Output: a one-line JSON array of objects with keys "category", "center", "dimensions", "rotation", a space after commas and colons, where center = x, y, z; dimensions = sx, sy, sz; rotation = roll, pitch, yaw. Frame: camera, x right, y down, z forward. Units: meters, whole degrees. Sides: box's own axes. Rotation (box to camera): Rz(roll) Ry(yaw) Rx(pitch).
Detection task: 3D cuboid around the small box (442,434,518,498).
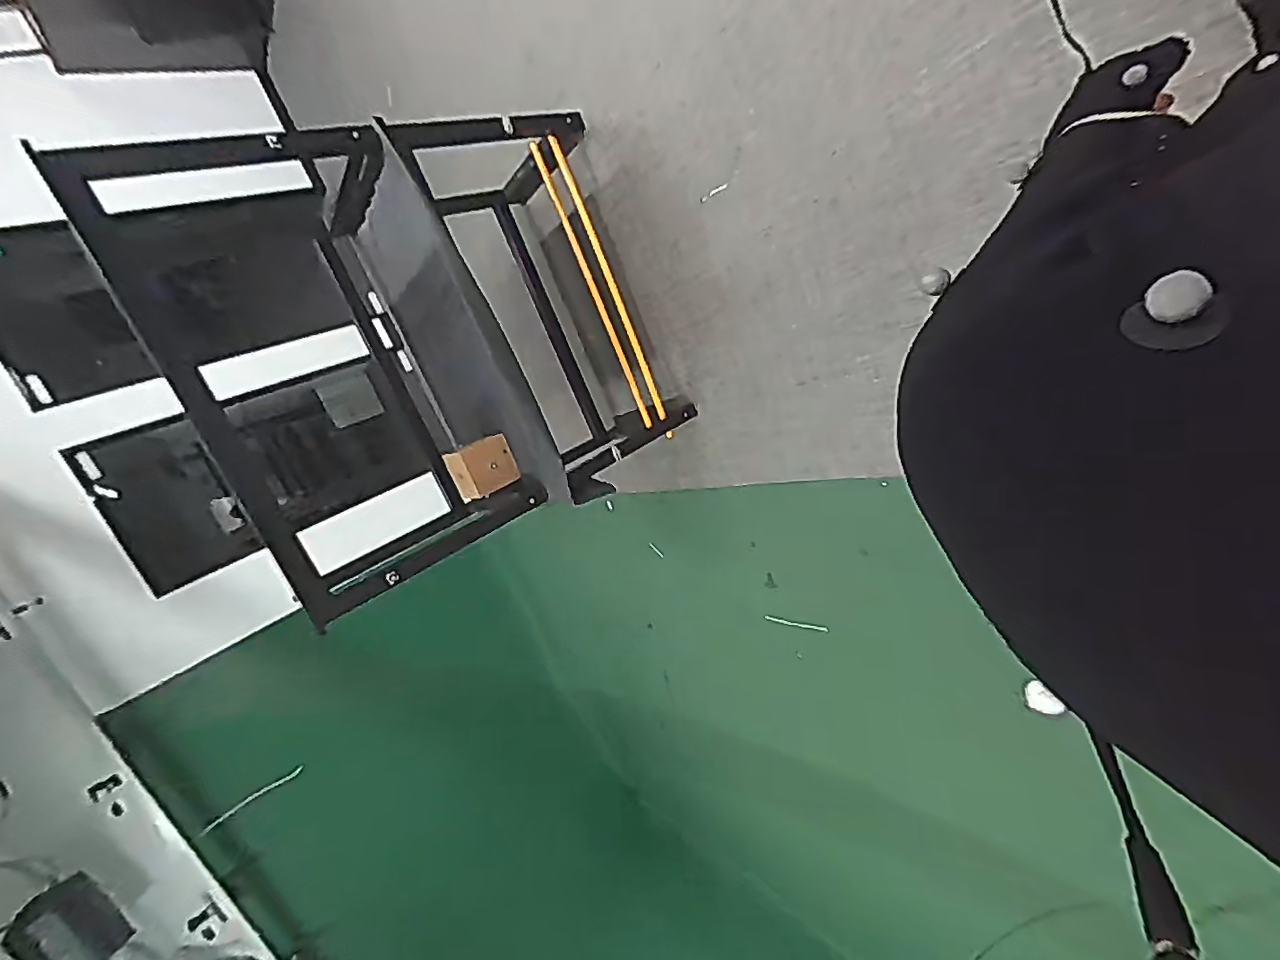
[{"category": "small box", "center": [-0.540, -0.050, 1.845], "dimensions": [0.179, 0.176, 0.168], "rotation": [-2, 113, 53]}]
